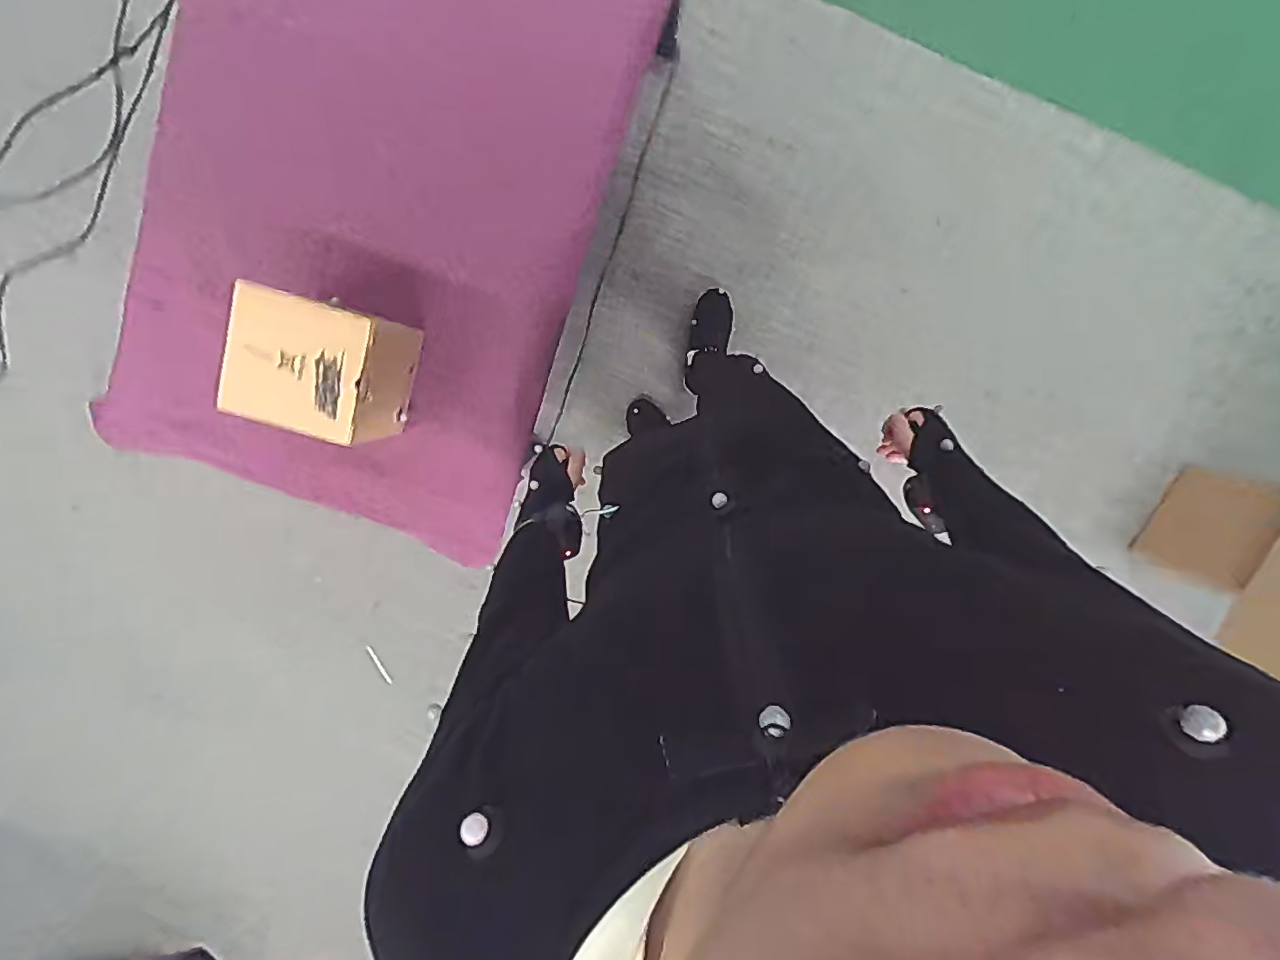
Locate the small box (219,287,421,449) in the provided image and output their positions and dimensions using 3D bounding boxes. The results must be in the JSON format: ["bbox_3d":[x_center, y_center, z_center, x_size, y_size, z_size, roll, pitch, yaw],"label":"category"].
[{"bbox_3d":[-0.436,-0.155,0.764,0.179,0.176,0.168,17,100,-2],"label":"small box"}]
